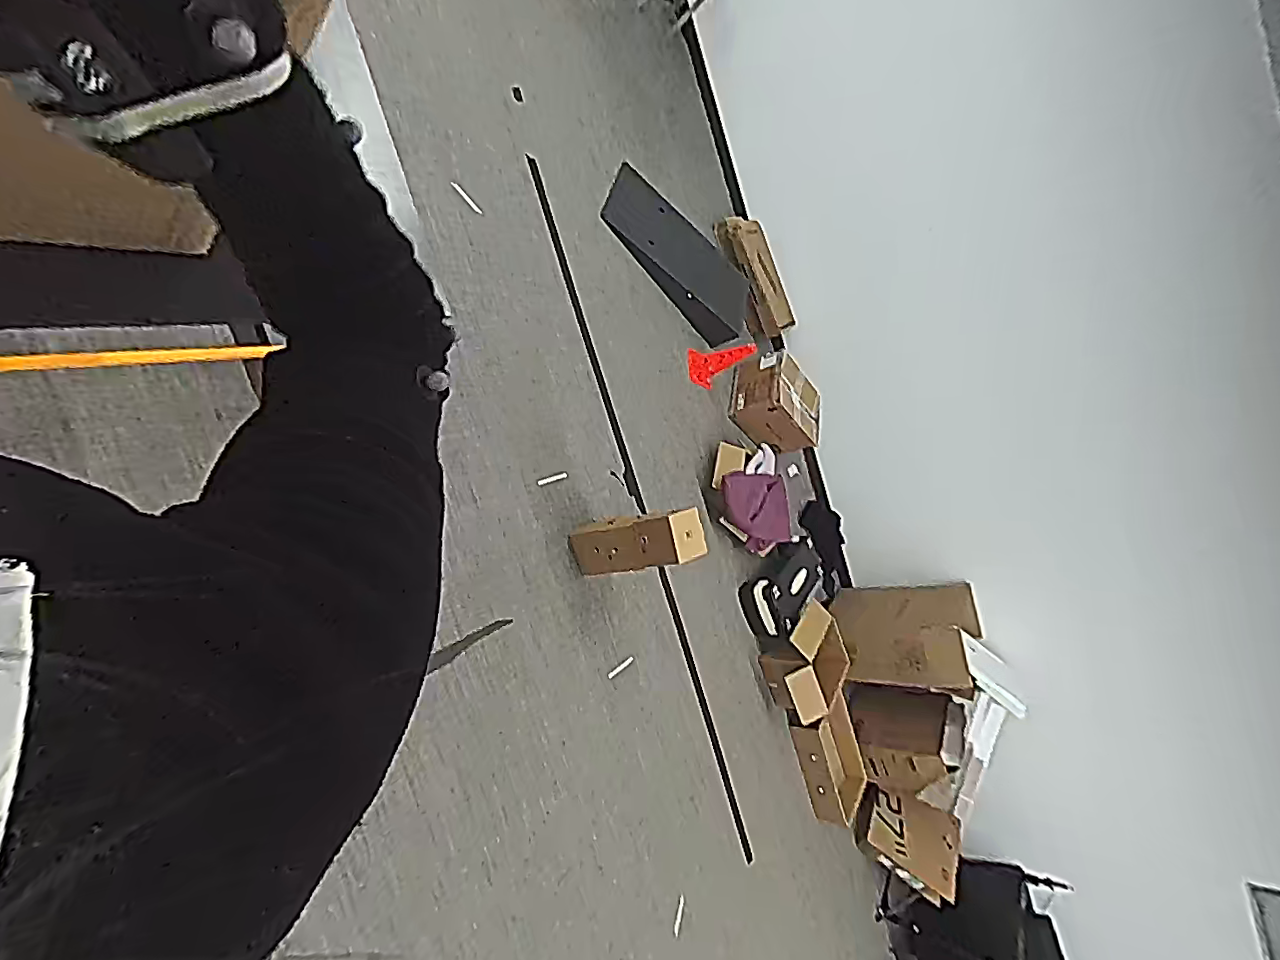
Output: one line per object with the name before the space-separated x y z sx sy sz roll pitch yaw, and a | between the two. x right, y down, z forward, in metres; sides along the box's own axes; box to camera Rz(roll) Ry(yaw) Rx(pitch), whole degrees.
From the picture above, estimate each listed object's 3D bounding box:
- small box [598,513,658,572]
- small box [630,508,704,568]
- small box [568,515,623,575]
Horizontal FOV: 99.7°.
small box | -0.026 0.227 1.977 0.179 0.176 0.168 -21 96 -50
small box | 0.092 0.199 1.869 0.179 0.176 0.168 -13 89 -50
small box | -0.152 0.252 2.081 0.168 0.176 0.179 -27 101 -50
